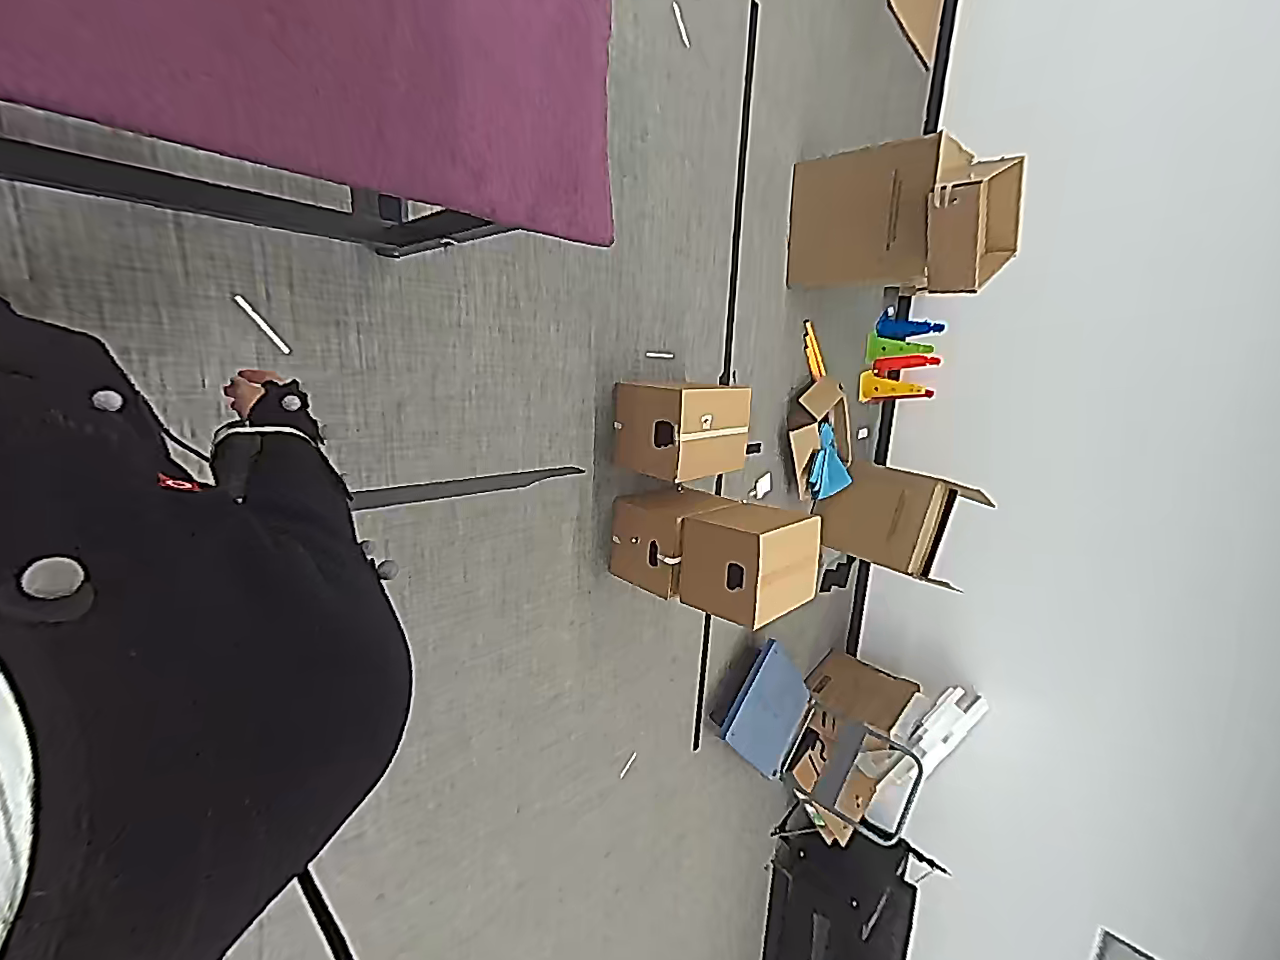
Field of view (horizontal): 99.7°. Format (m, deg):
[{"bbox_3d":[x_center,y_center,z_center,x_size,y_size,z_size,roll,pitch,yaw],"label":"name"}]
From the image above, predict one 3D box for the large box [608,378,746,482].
[{"bbox_3d":[0.135,-0.202,1.980,0.408,0.320,0.320,-11,109,-44],"label":"large box"}]
